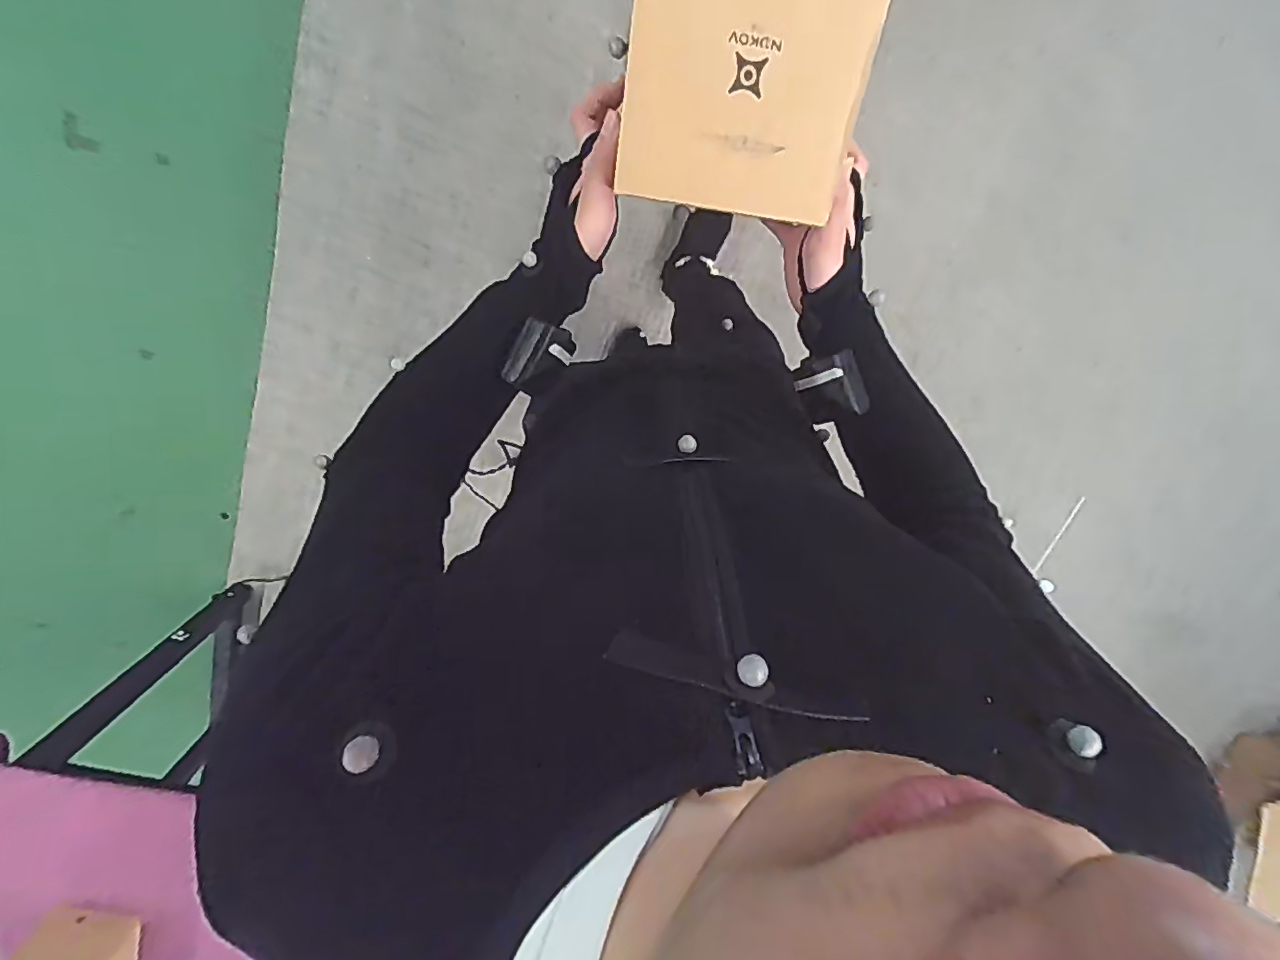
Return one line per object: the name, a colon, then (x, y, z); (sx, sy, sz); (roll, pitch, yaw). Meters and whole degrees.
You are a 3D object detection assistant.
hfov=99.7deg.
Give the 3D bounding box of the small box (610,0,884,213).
small box: (0.069, -0.323, 0.427); (0.168, 0.176, 0.179); (7, 119, -4)
